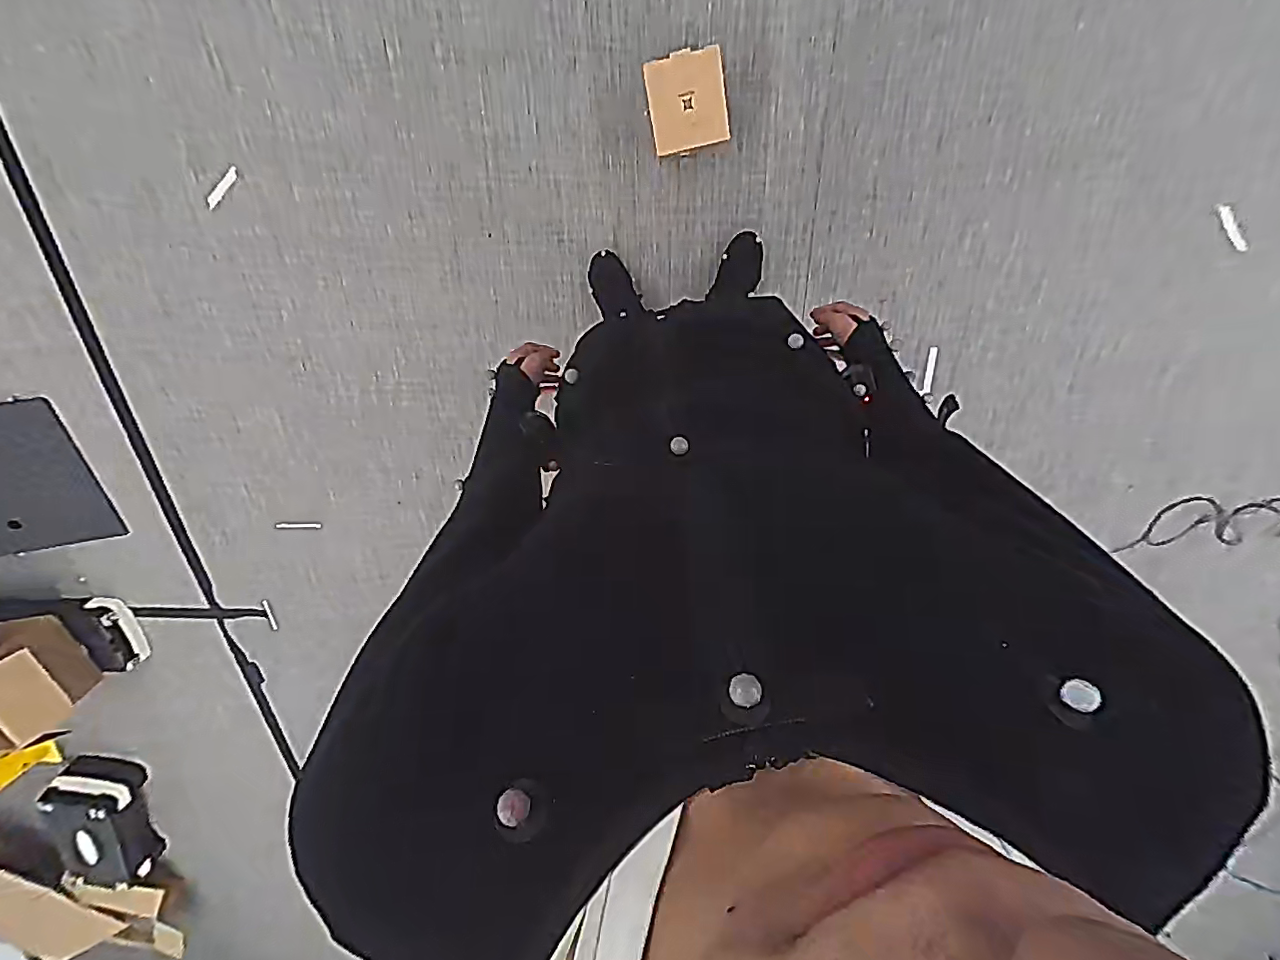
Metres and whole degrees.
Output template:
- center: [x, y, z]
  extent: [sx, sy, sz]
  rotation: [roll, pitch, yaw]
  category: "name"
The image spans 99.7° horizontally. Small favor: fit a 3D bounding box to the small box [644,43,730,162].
- center: [0.102, -0.843, 1.224]
  extent: [0.168, 0.176, 0.179]
  rotation: [-10, 116, 7]
  category: "small box"
